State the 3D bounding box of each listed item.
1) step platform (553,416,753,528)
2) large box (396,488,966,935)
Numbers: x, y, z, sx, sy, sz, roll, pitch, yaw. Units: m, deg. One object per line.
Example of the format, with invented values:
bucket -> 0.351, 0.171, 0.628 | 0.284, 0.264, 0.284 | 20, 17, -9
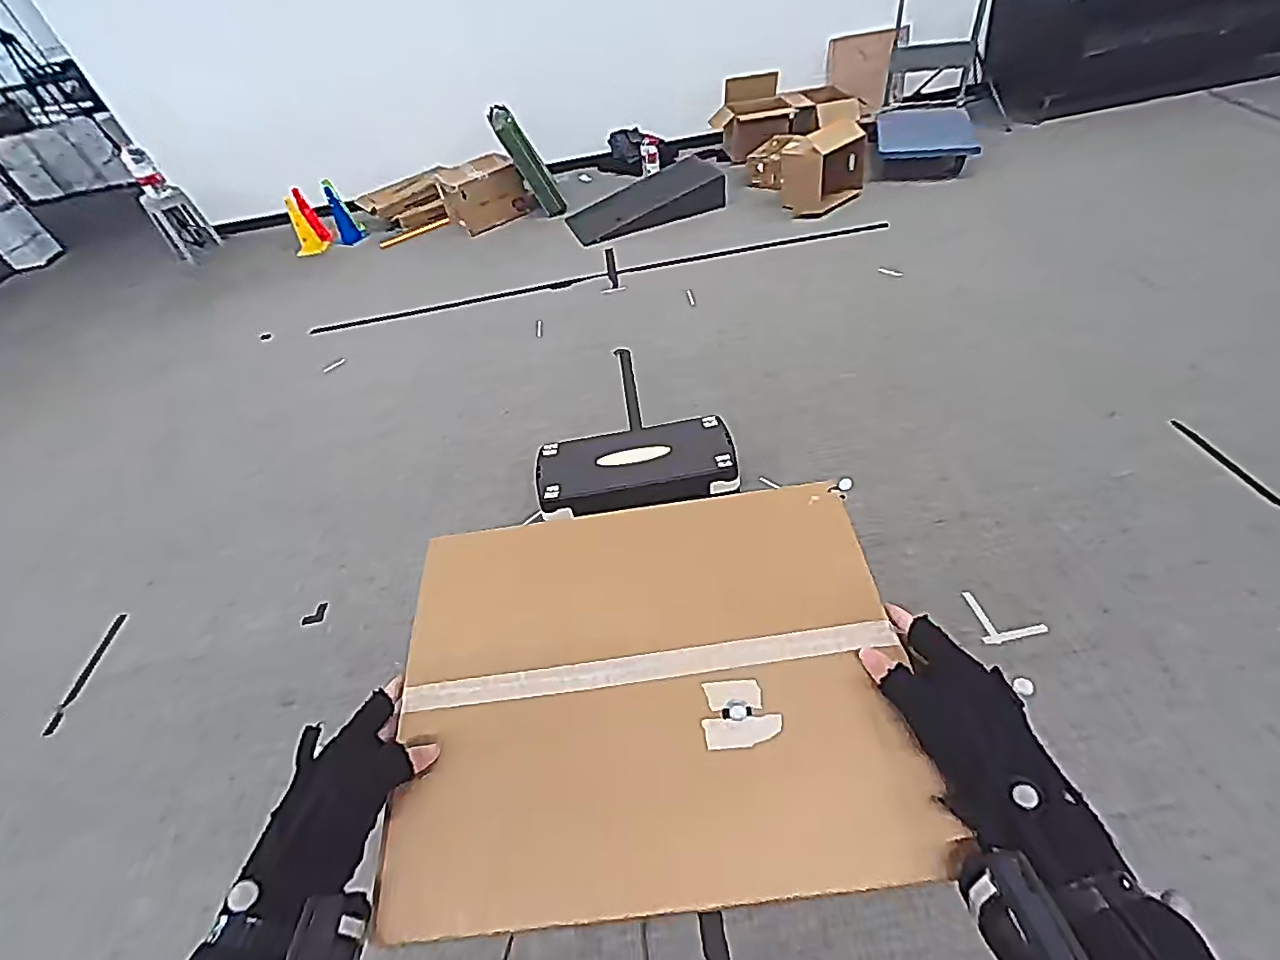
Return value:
step platform -> 0.041, -0.019, 1.880 | 0.684, 0.204, 0.286 | -10, 47, 0
large box -> 0.025, 0.247, 0.573 | 0.408, 0.320, 0.320 | -8, 54, 2
